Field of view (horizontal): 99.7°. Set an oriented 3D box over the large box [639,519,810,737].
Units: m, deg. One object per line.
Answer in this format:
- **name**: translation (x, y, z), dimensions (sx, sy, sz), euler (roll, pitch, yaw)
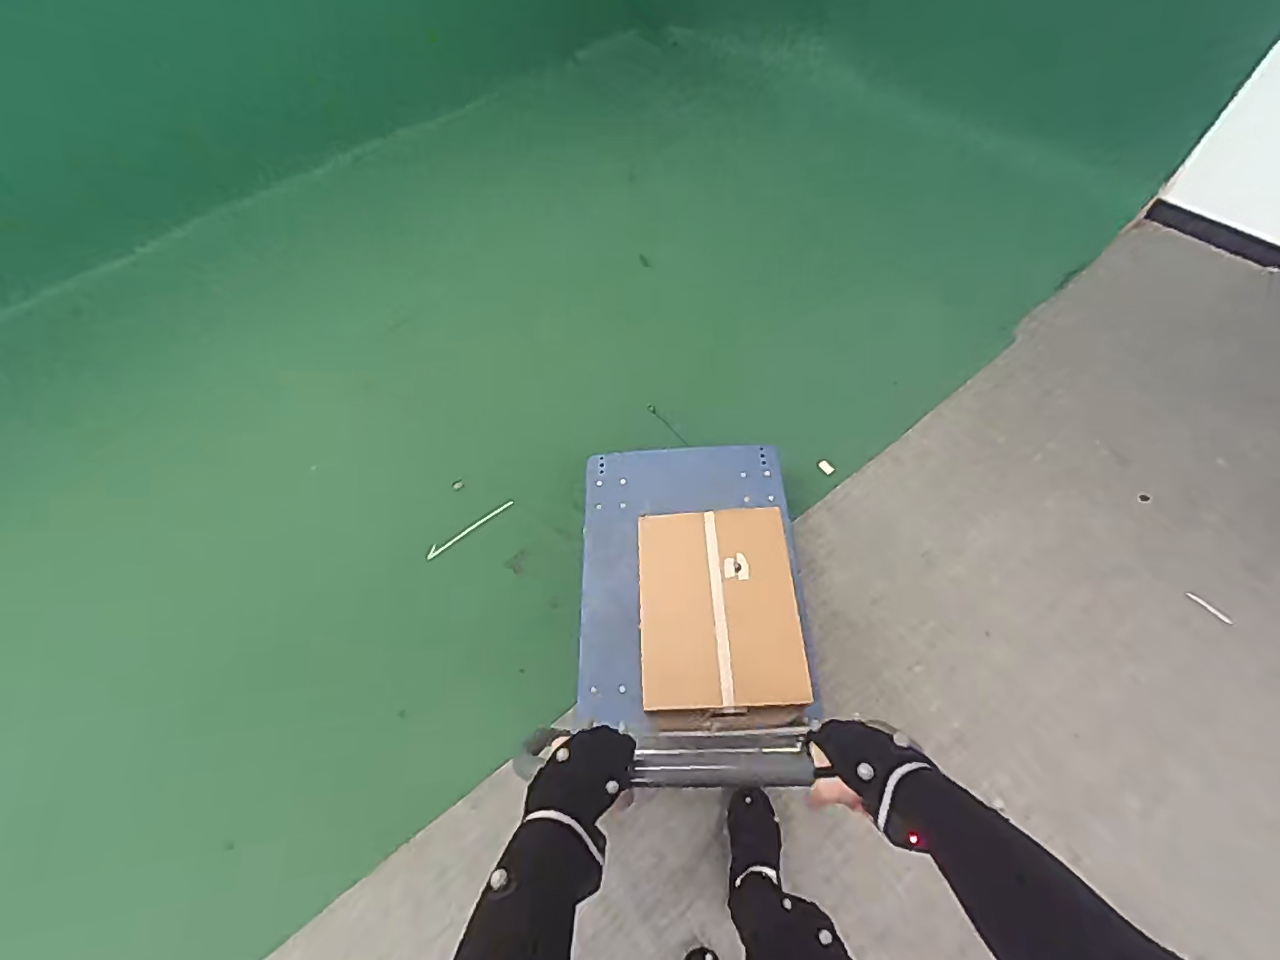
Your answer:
- **large box**: translation (0.171, 0.343, 1.233), dimensions (0.320, 0.320, 0.408), euler (-3, 58, 3)
